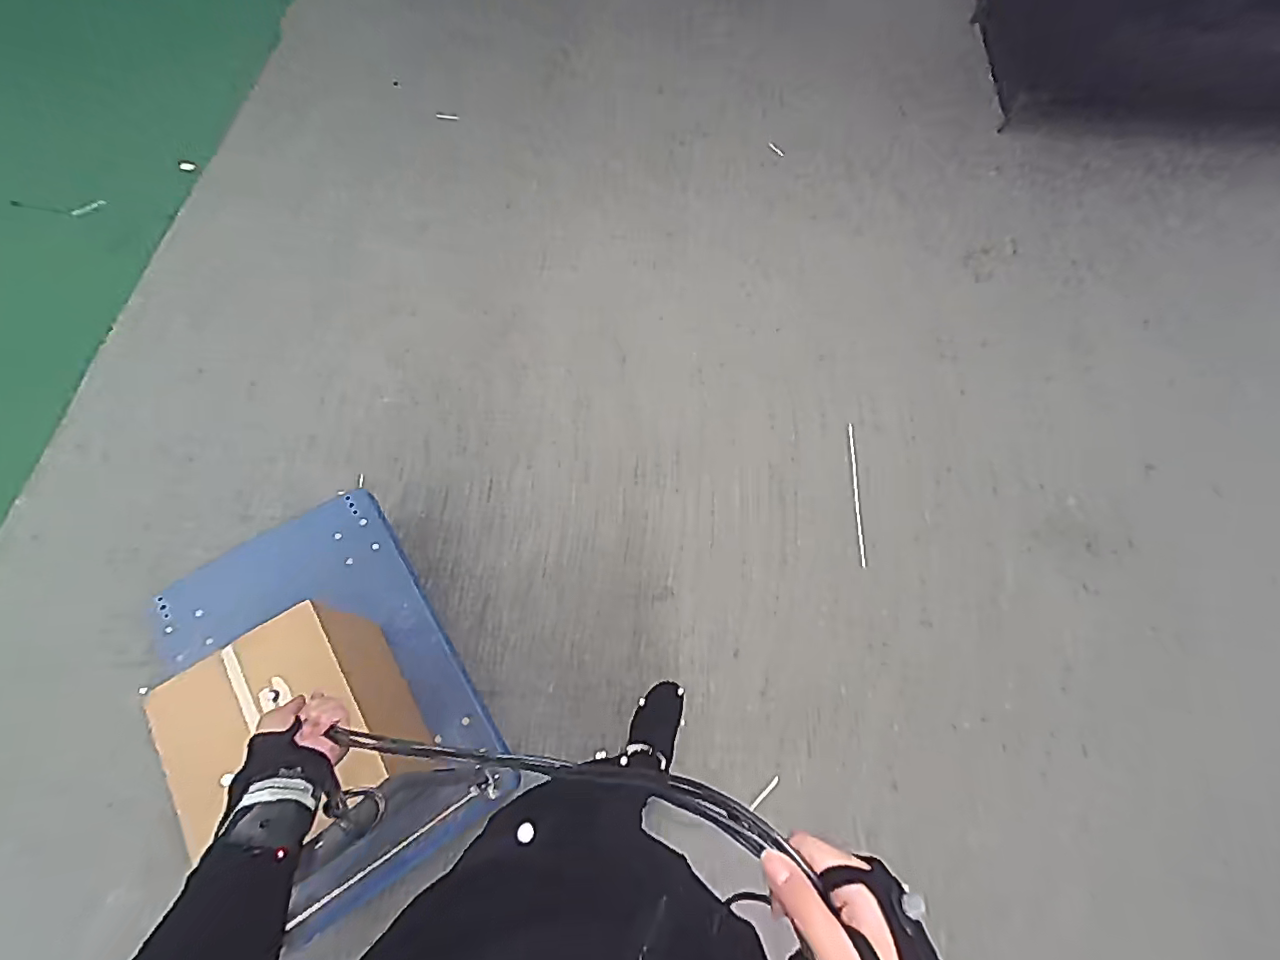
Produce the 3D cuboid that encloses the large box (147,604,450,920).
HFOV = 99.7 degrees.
[{"bbox_3d":[-0.646,0.523,1.073,0.320,0.320,0.408,-32,70,-15],"label":"large box"}]
